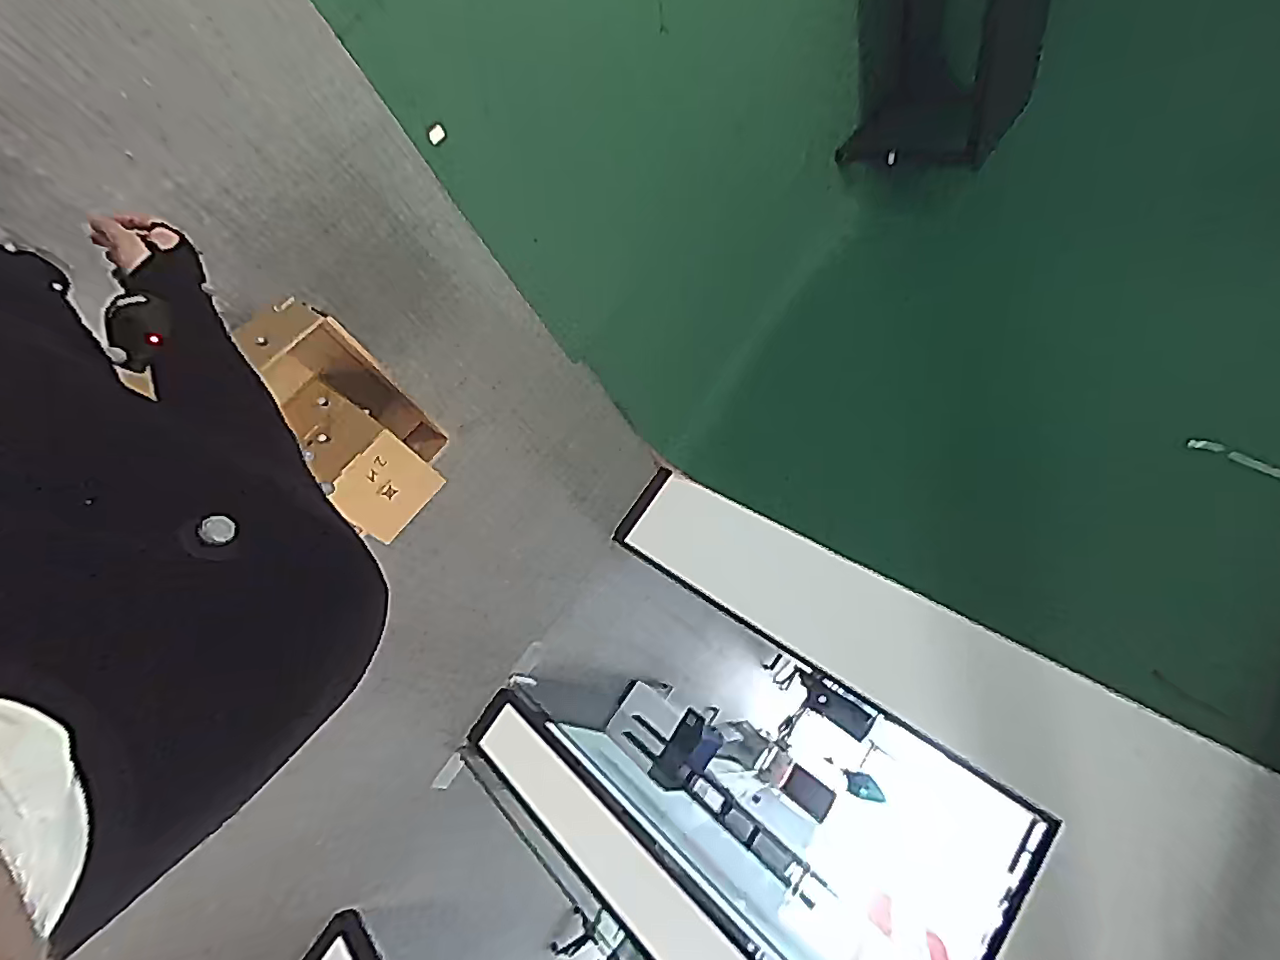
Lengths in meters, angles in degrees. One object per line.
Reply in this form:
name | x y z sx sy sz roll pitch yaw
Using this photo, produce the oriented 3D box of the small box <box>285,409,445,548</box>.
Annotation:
small box | -0.516 -0.007 1.021 0.168 0.176 0.179 -51 143 -15
